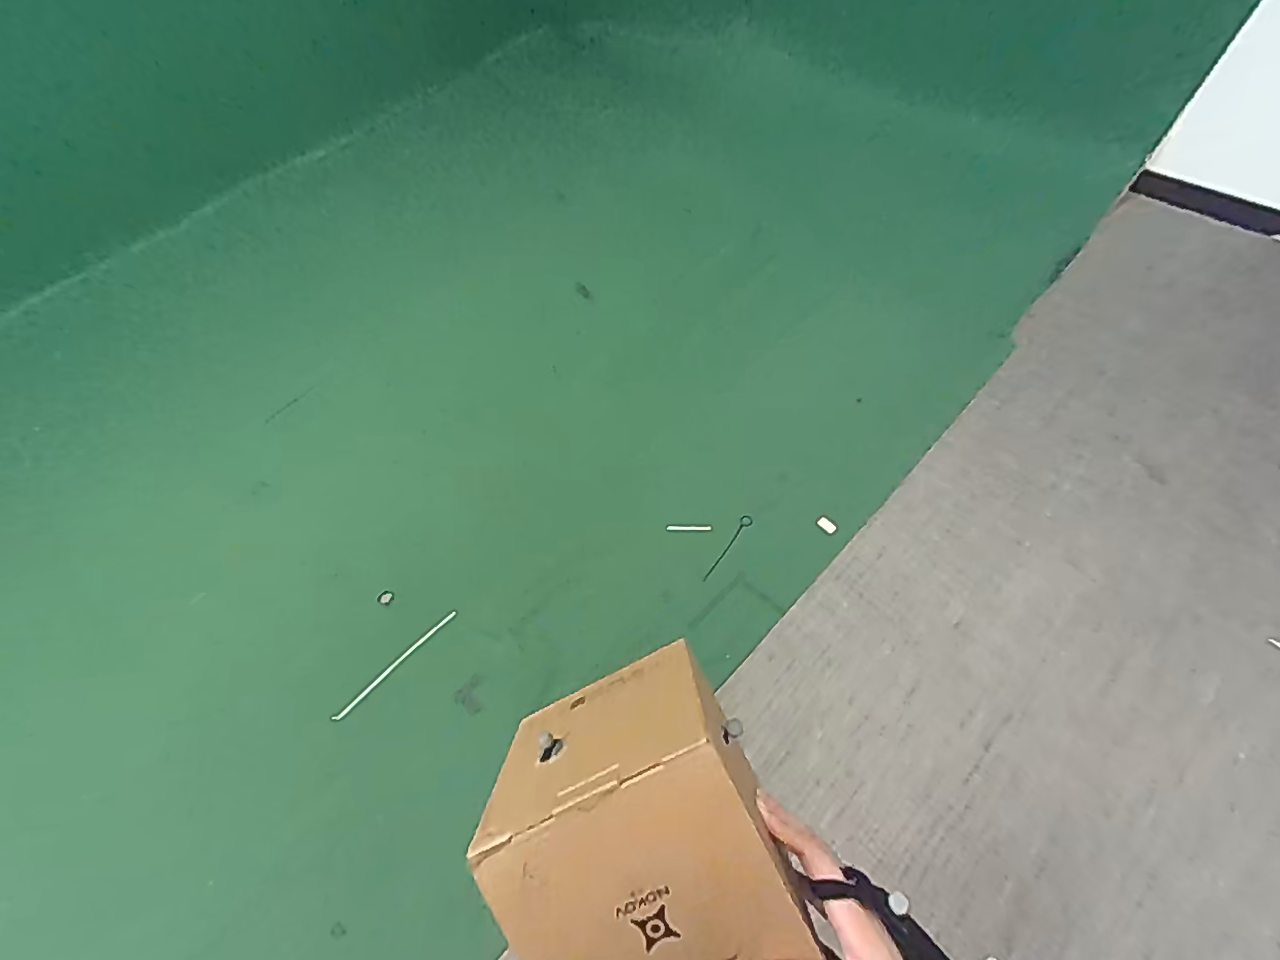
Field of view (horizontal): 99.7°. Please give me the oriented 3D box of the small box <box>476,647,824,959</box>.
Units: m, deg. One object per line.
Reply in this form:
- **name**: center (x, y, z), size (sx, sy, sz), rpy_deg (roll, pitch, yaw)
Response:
- **small box**: center (0.005, 0.251, 0.414), size (0.168, 0.176, 0.179), rpy_deg (-26, 93, 2)
